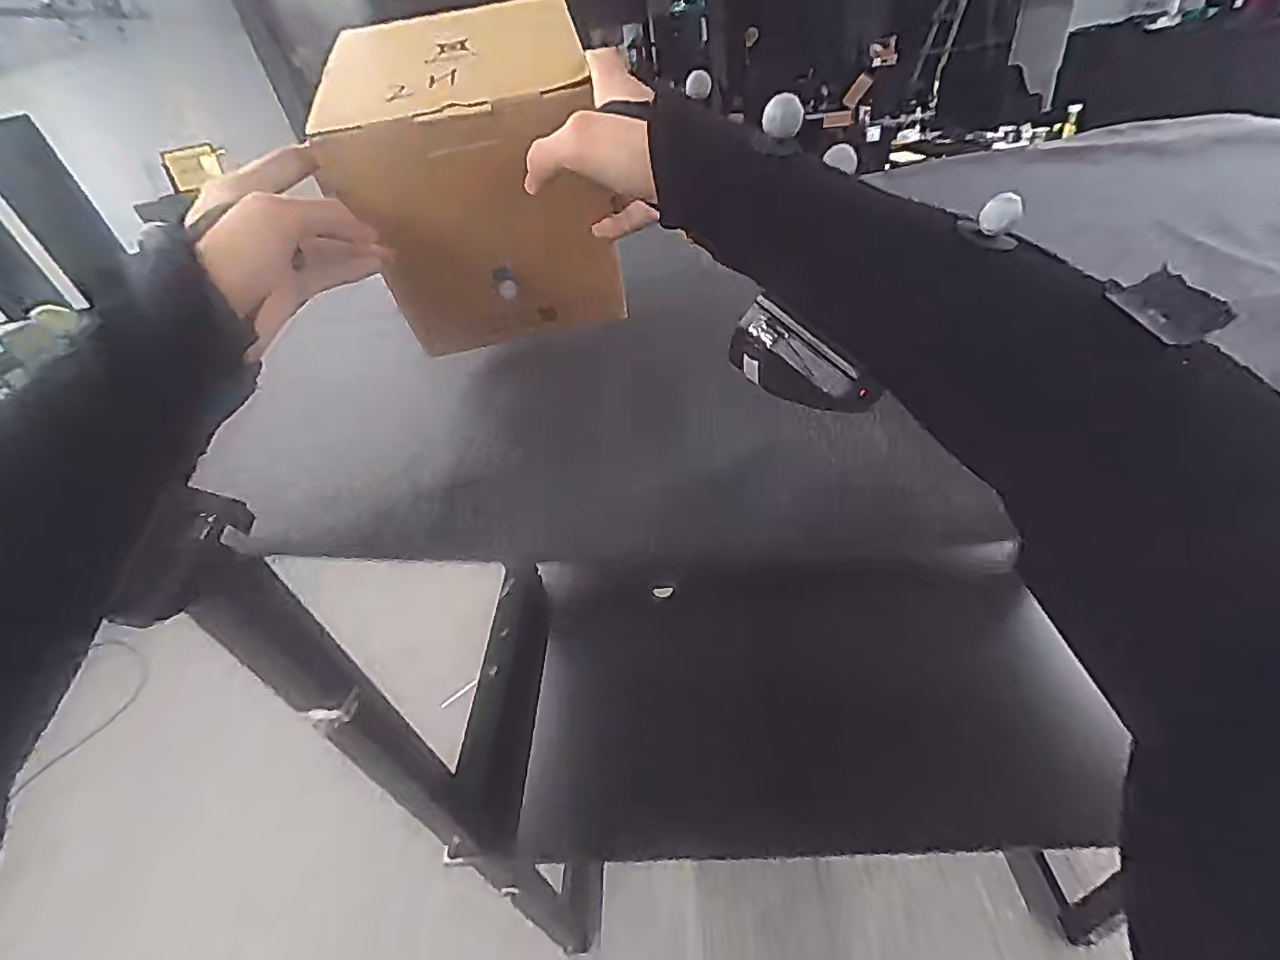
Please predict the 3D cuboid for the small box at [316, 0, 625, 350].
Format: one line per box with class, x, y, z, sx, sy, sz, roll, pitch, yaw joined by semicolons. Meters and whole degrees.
small box;-0.112;-0.231;0.422;0.168;0.176;0.179;-12;55;-1
